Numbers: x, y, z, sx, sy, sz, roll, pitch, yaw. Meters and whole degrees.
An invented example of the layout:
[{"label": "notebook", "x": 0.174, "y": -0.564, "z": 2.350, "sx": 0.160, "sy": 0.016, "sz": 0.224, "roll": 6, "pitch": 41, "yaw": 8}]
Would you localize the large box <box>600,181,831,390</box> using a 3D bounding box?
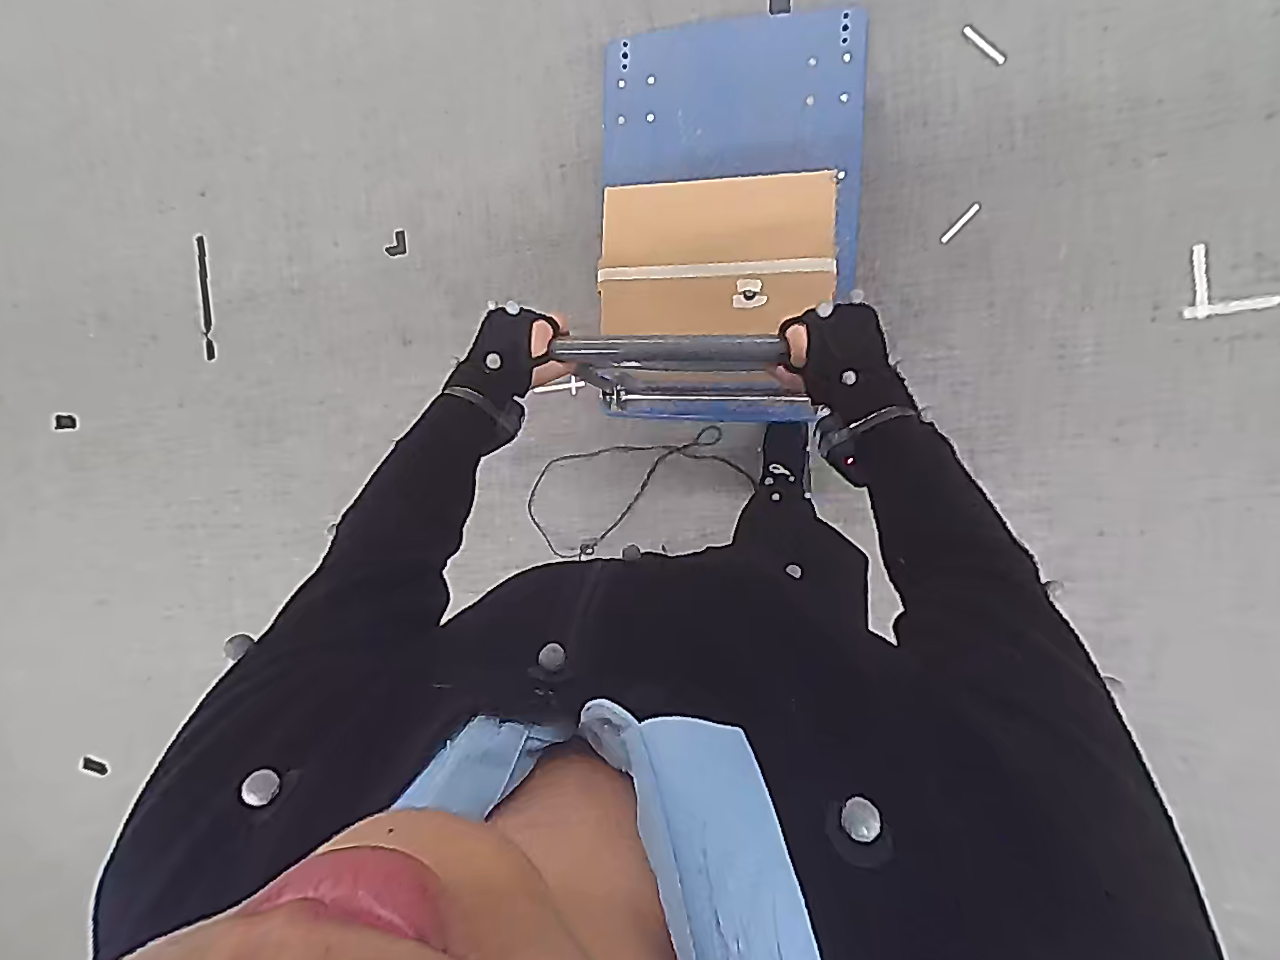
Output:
[{"label": "large box", "x": 0.151, "y": -0.356, "z": 1.091, "sx": 0.408, "sy": 0.320, "sz": 0.320, "roll": 2, "pitch": 94, "yaw": 12}]
